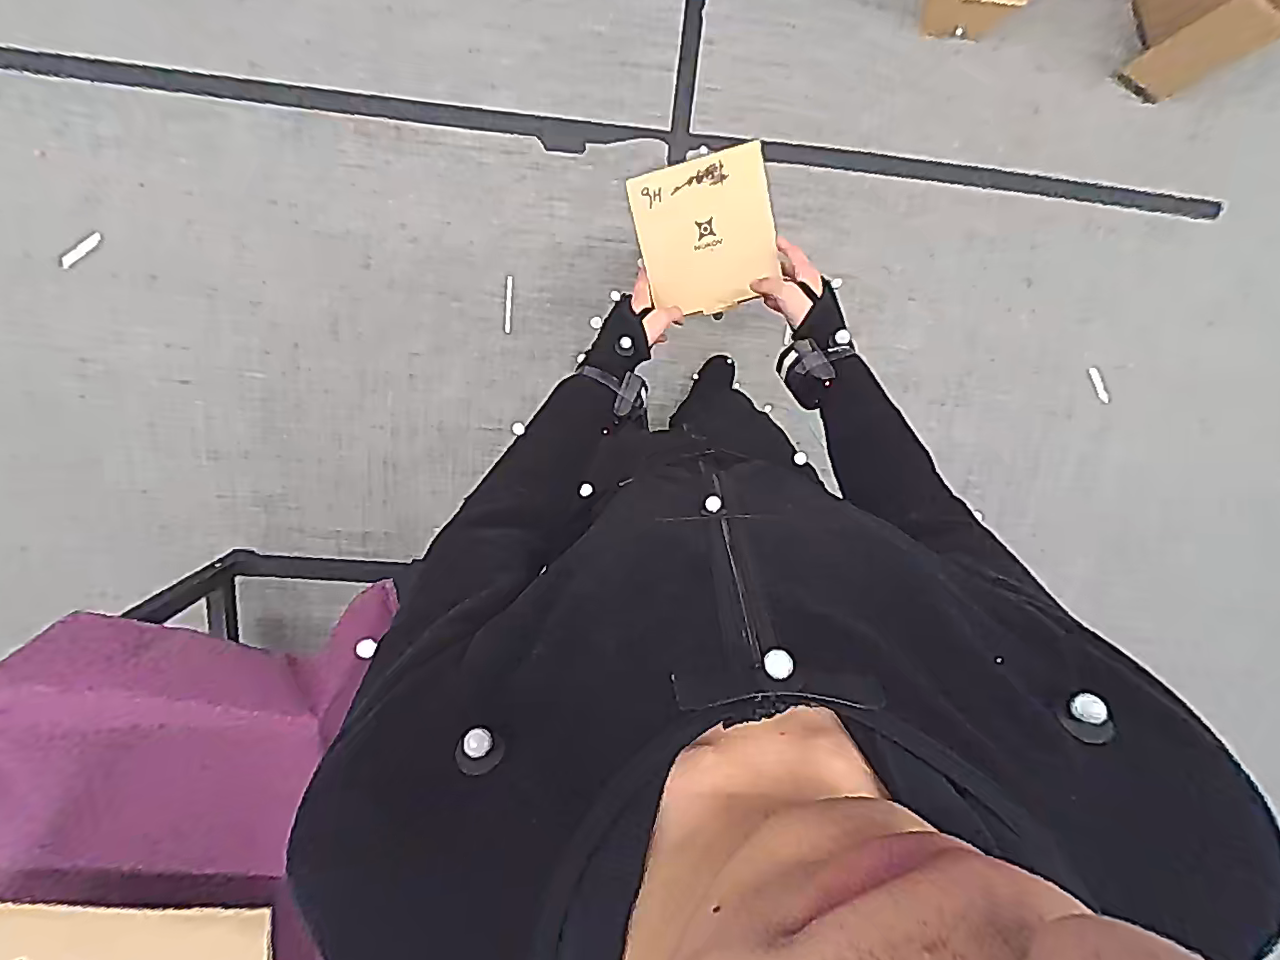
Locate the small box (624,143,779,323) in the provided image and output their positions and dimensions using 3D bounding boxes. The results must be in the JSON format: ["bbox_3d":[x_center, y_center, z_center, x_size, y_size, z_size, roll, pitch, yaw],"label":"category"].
[{"bbox_3d":[0.086,-0.327,0.745,0.168,0.176,0.179,-12,107,9],"label":"small box"}]
